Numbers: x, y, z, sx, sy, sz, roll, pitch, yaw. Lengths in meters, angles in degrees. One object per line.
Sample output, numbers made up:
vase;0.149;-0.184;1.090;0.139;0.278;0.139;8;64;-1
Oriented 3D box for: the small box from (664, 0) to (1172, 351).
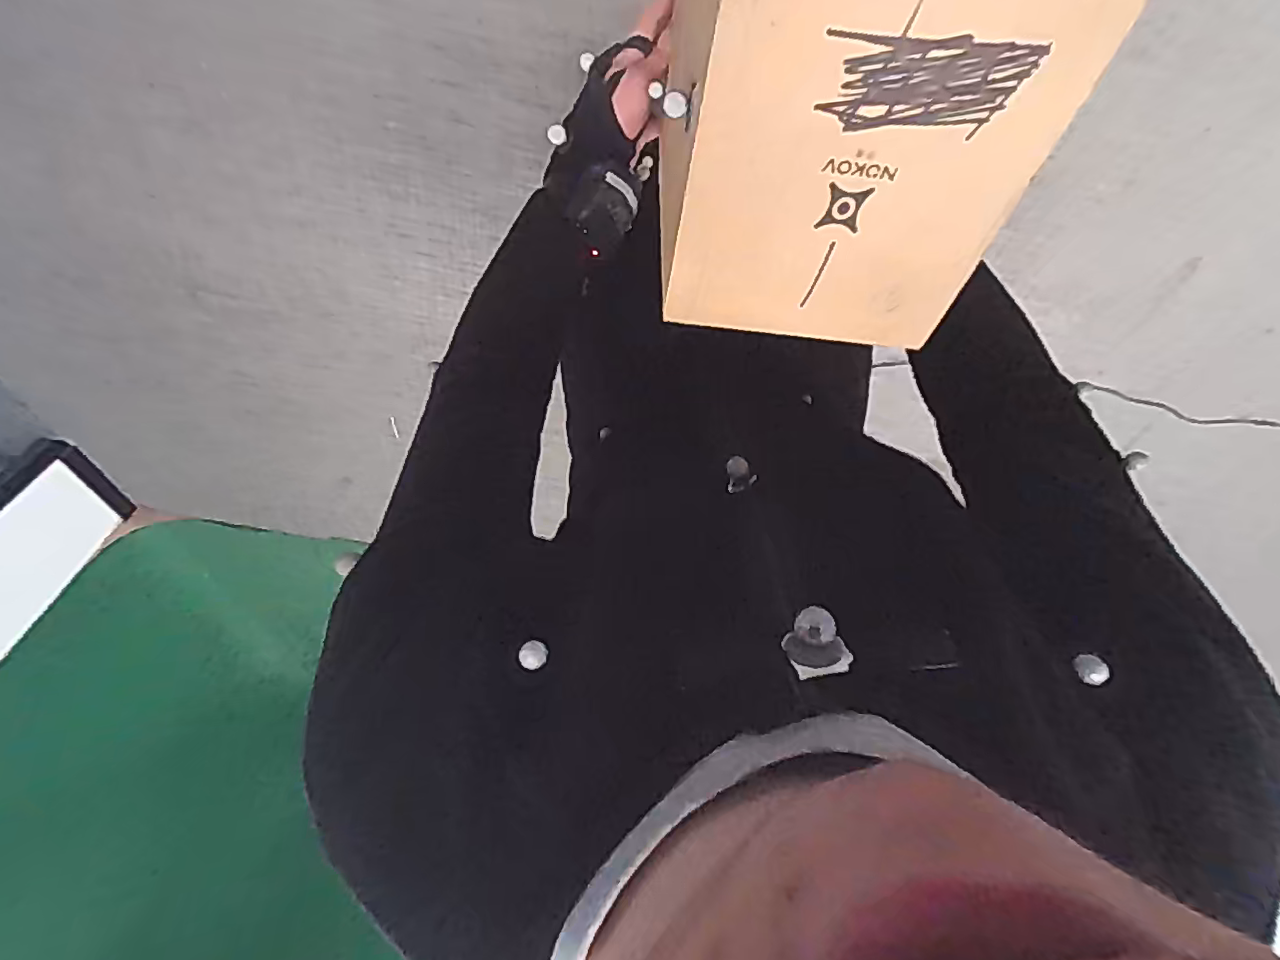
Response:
small box;0.106;-0.201;0.299;0.168;0.176;0.179;6;142;-5
